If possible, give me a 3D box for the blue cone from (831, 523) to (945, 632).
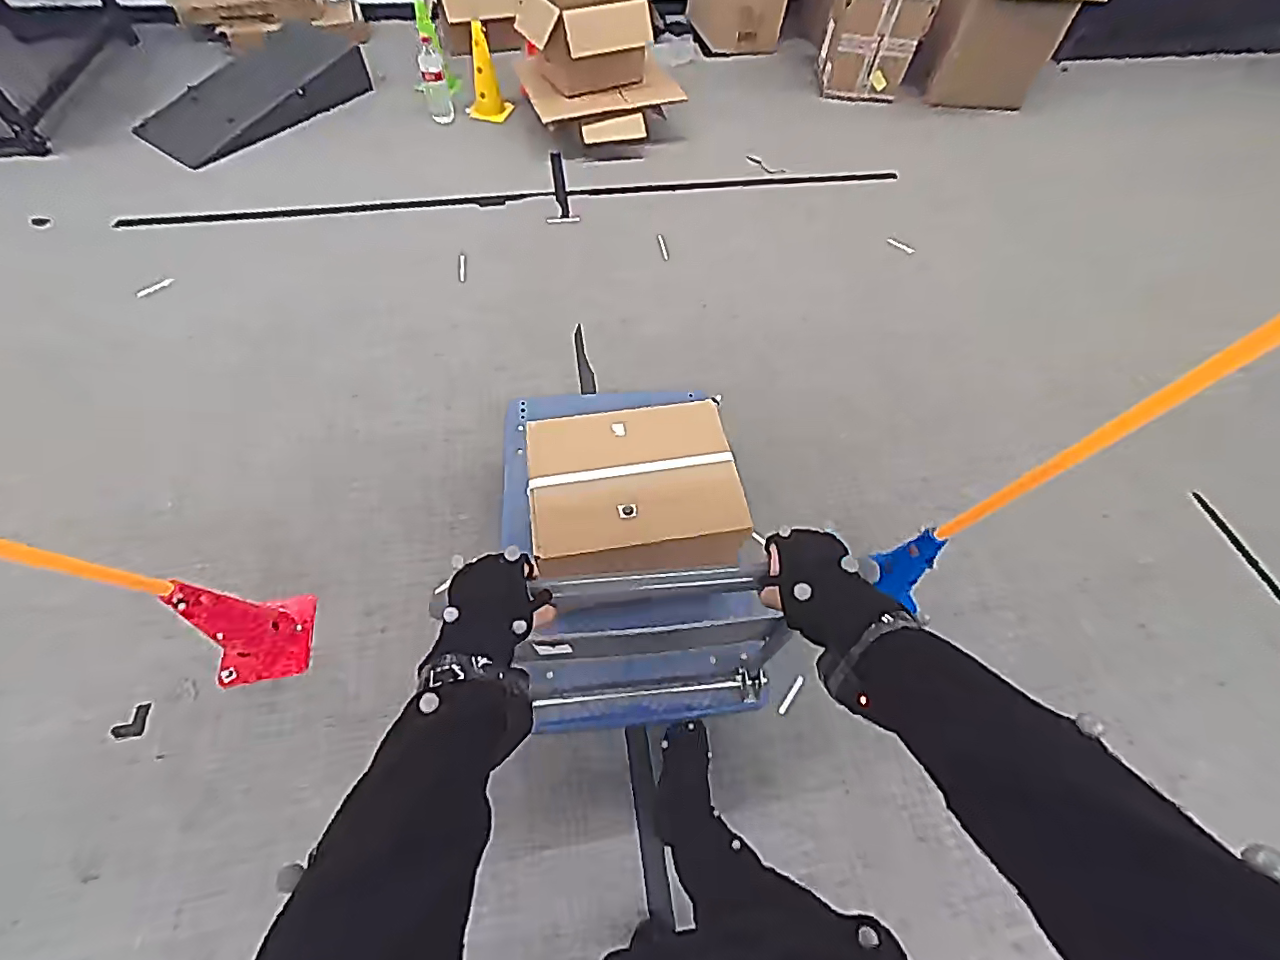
[{"bbox_3d":[0.638,0.218,1.319,0.193,0.380,0.192,-10,58,-10],"label":"blue cone"}]
